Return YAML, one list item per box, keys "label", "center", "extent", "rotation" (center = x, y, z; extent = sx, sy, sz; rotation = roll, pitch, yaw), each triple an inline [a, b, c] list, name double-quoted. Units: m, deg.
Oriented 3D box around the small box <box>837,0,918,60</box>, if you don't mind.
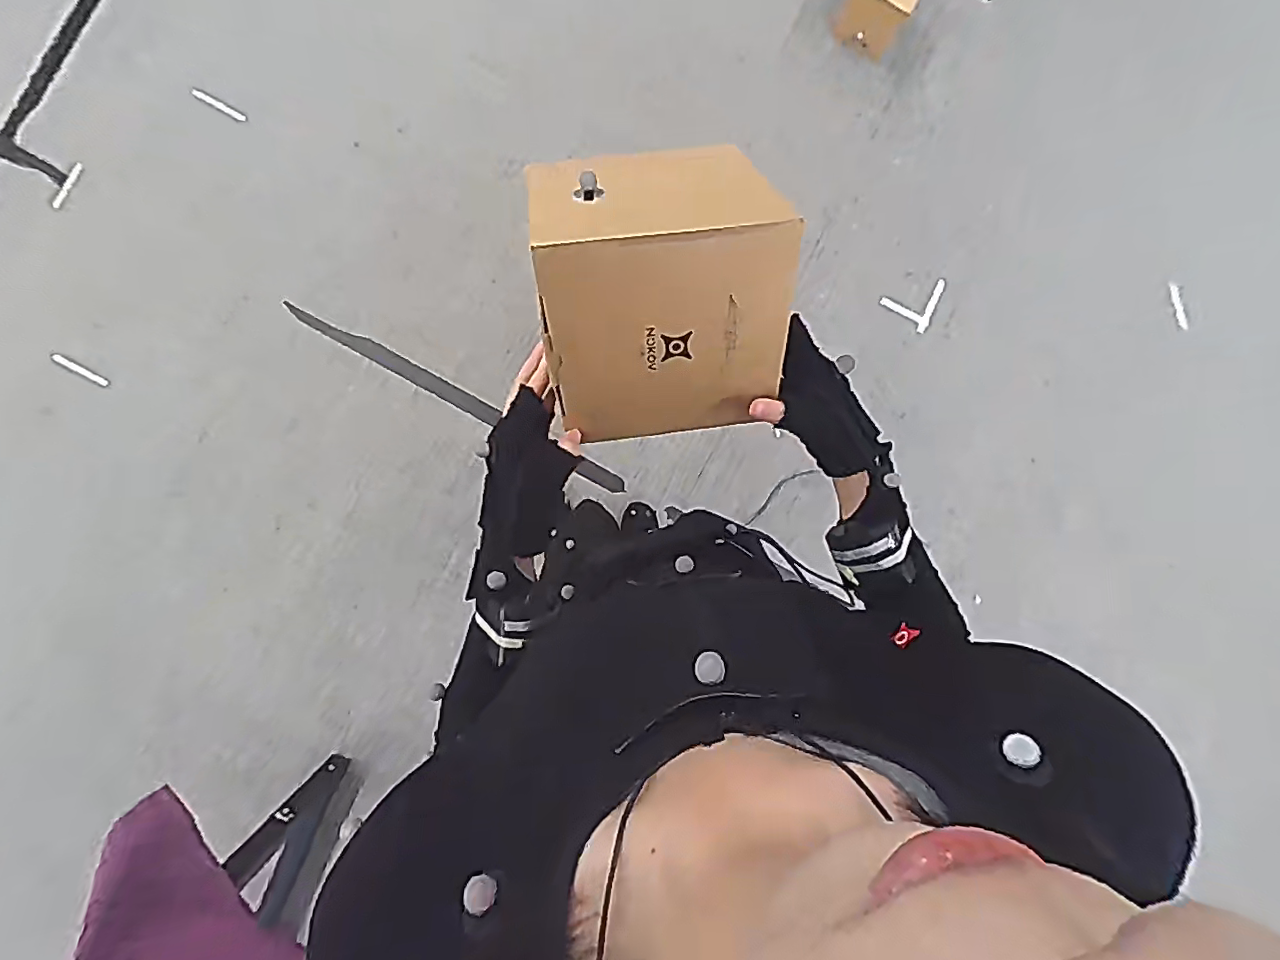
- label: "small box"
  center: [0.688, -1.356, 1.524]
  extent: [0.168, 0.176, 0.179]
  rotation: [30, 88, -2]
